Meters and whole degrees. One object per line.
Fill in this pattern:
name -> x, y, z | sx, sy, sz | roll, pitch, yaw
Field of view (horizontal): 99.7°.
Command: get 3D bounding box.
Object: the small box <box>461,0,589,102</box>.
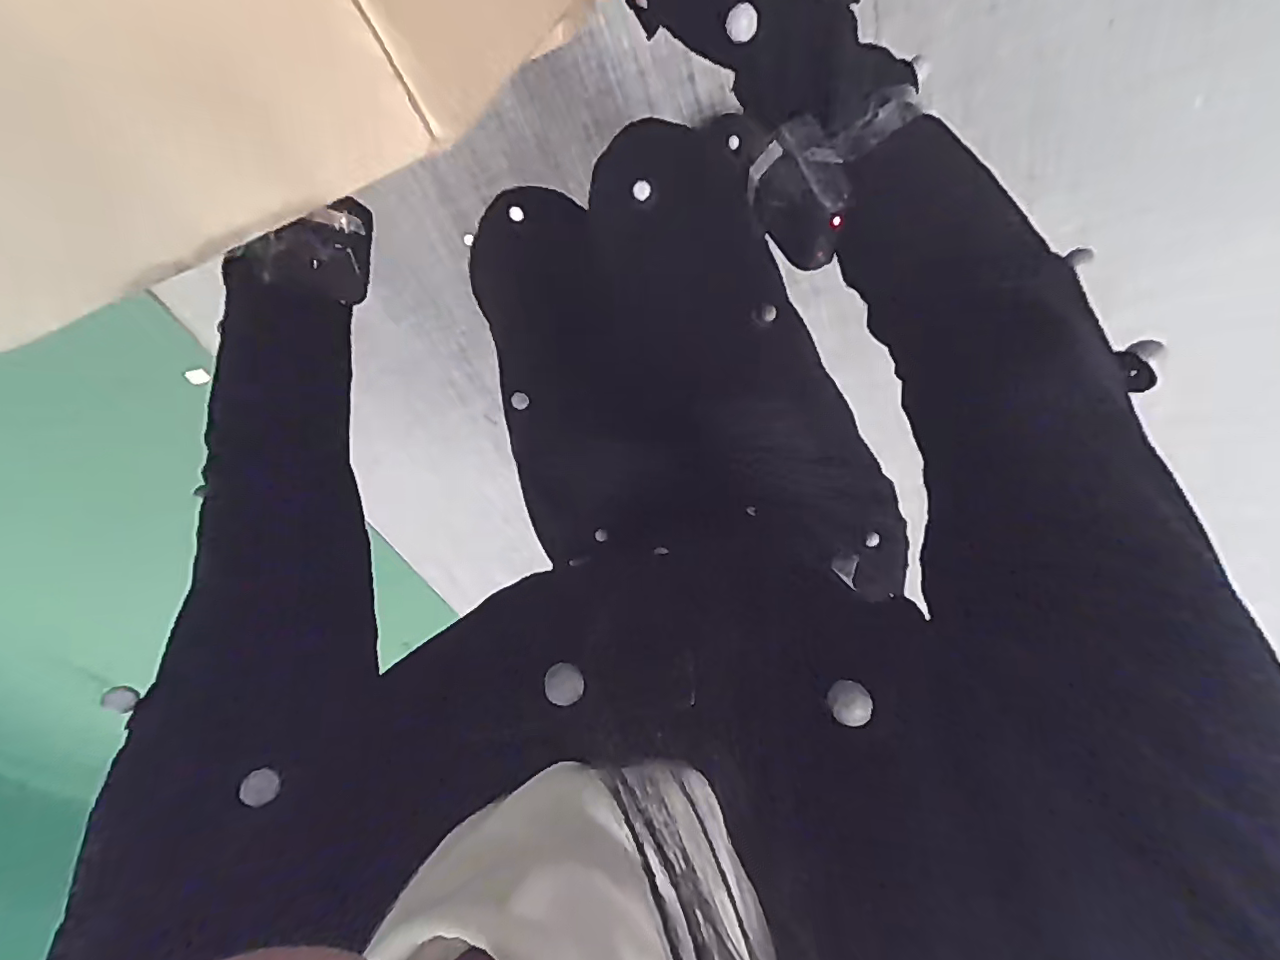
small box -> -0.135, -0.278, 0.244 | 0.168, 0.176, 0.179 | -10, 138, 20

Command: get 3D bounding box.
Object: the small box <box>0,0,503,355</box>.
small box -> -0.153, -0.157, 0.134 | 0.179, 0.176, 0.168 | -10, 136, 19
